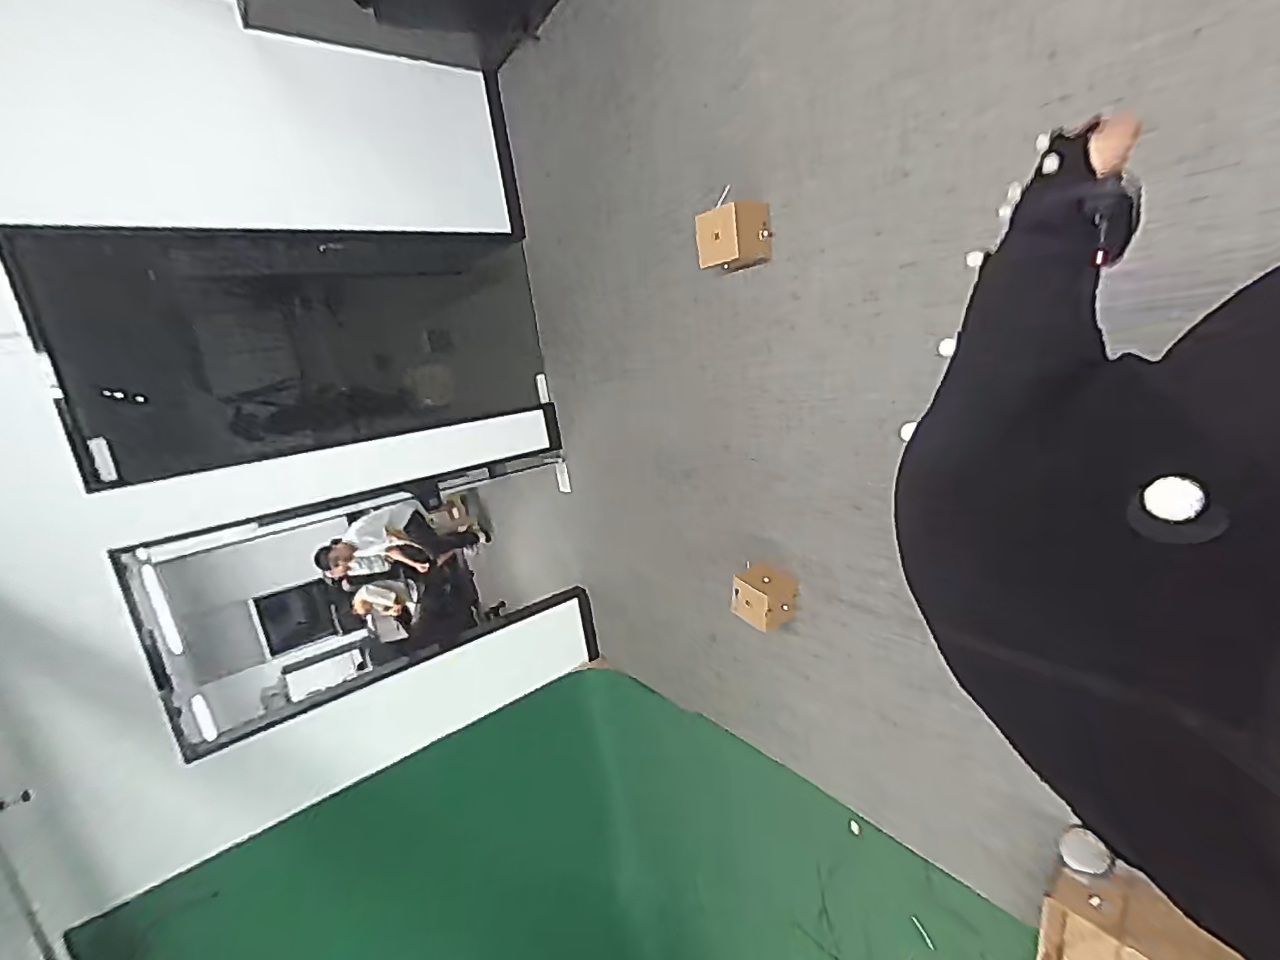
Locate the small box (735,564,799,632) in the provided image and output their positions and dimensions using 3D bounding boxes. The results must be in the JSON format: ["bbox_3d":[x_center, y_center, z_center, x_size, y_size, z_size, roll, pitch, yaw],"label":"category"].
[{"bbox_3d":[0.485,0.441,2.061,0.179,0.176,0.168,26,124,47],"label":"small box"}]

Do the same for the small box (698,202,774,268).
[{"bbox_3d":[0.318,-0.799,1.778,0.179,0.176,0.168,9,112,52],"label":"small box"}]
